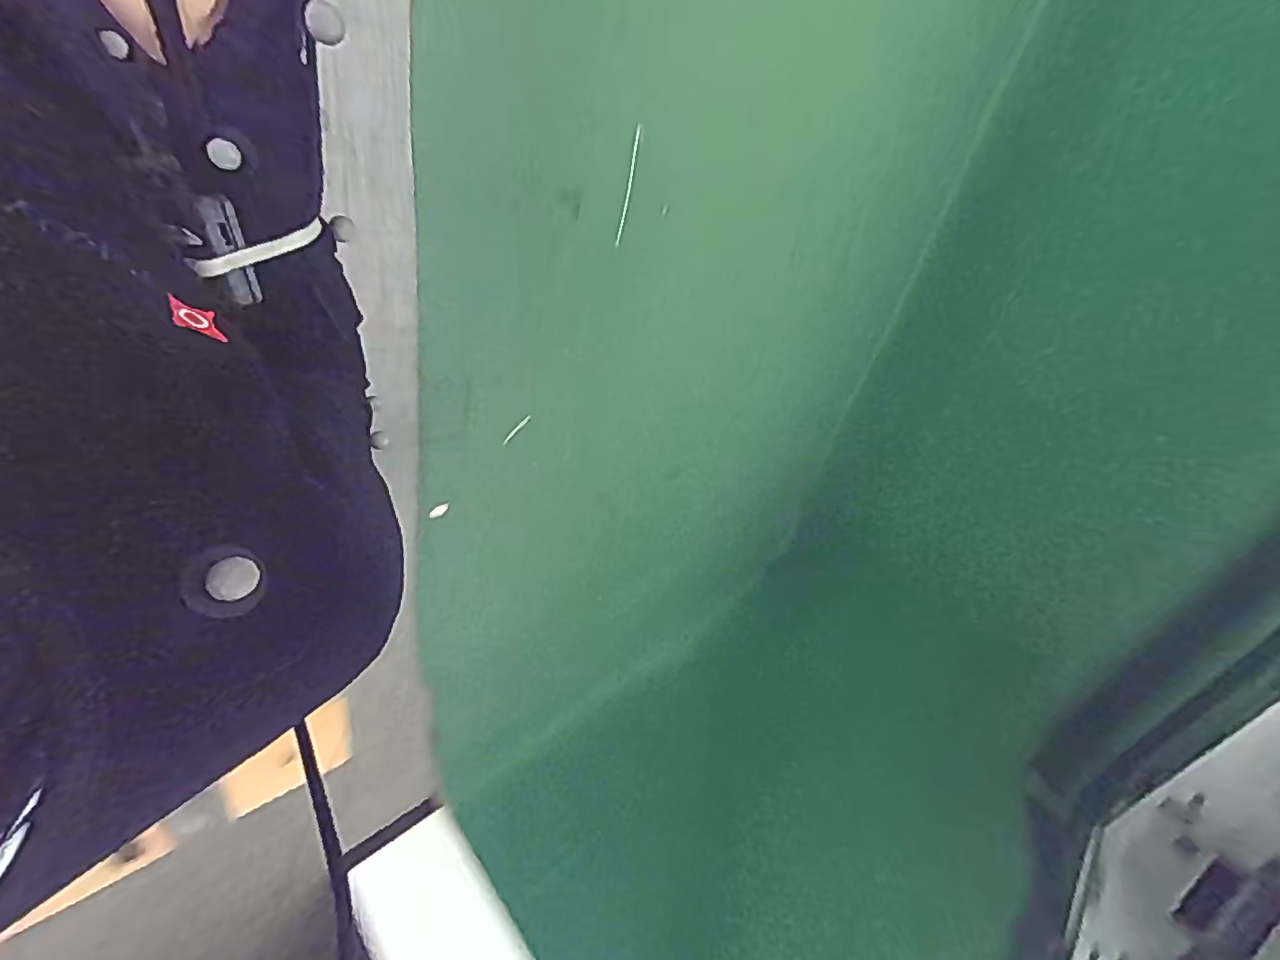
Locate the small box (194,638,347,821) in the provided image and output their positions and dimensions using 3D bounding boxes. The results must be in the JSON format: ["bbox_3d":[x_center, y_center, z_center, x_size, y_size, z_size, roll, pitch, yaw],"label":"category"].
[{"bbox_3d":[-0.595,0.395,0.880,0.168,0.176,0.179,-16,132,-42],"label":"small box"}]
